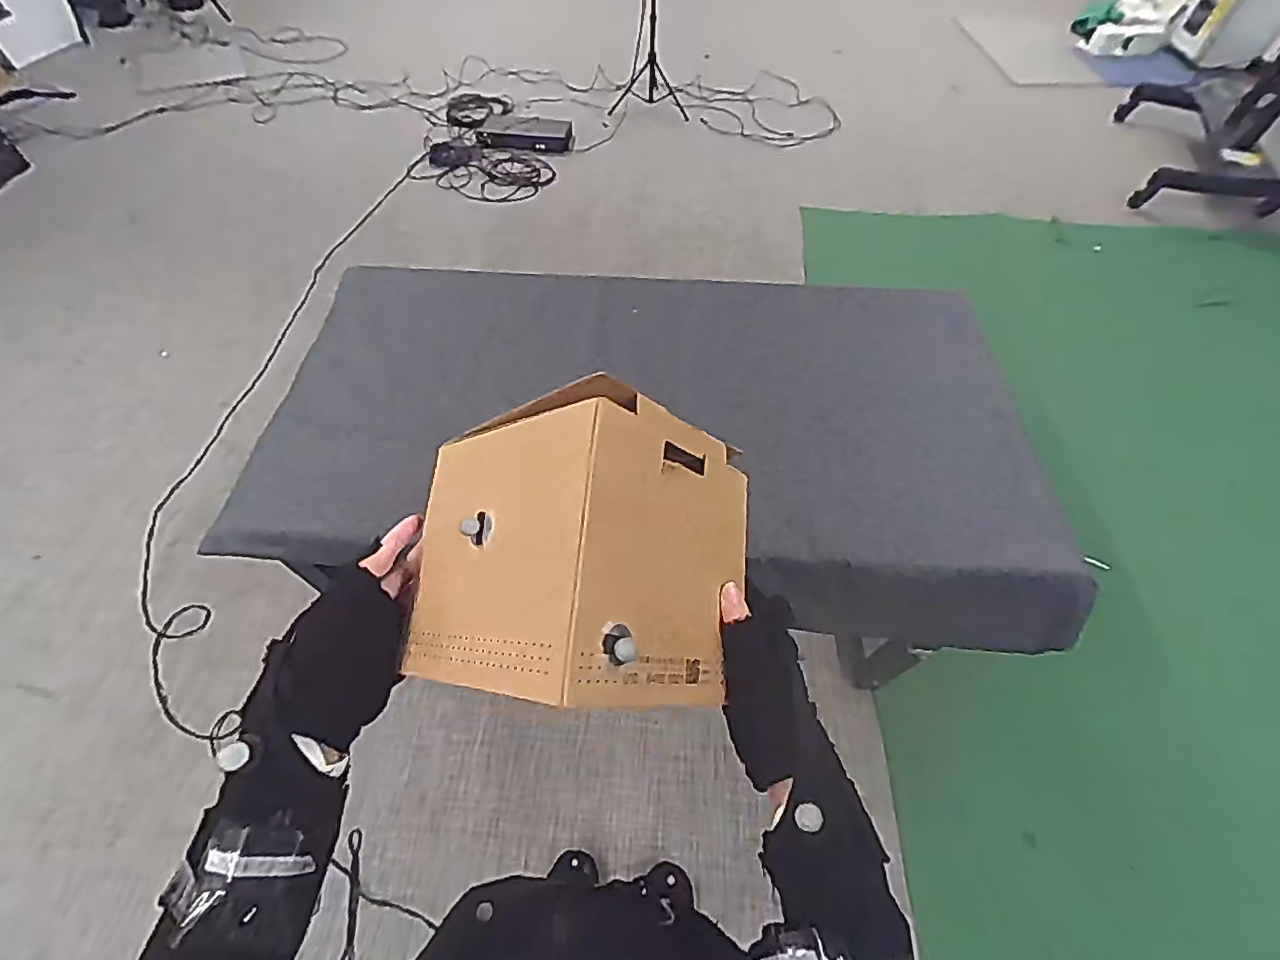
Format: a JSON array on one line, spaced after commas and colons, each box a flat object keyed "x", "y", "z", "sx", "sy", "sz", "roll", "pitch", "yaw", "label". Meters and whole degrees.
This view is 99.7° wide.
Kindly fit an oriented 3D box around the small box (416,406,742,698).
[{"x": -0.040, "y": 0.067, "z": 0.405, "sx": 0.179, "sy": 0.168, "sz": 0.176, "roll": -11, "pitch": 66, "yaw": 39, "label": "small box"}]
